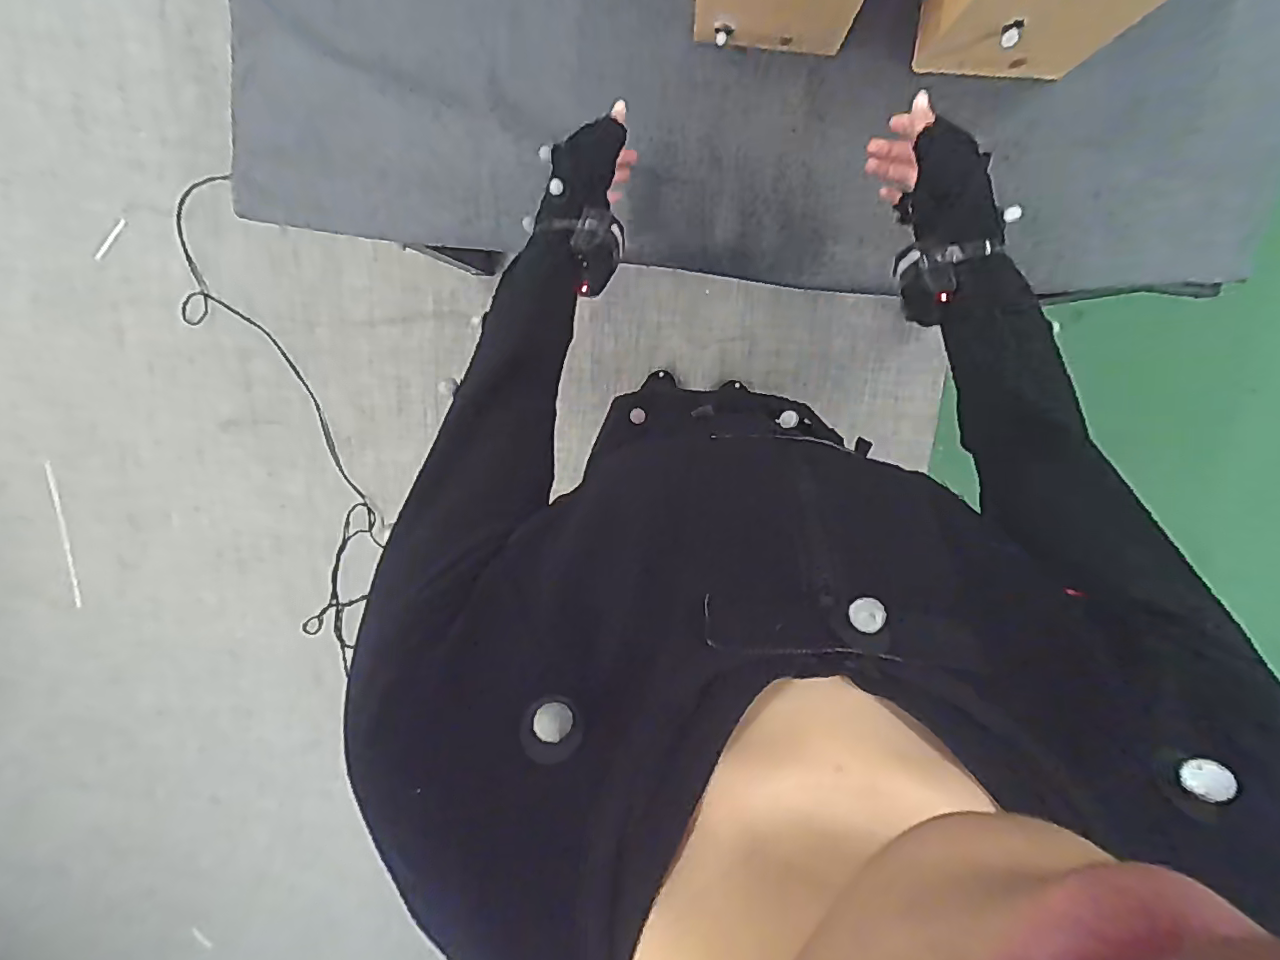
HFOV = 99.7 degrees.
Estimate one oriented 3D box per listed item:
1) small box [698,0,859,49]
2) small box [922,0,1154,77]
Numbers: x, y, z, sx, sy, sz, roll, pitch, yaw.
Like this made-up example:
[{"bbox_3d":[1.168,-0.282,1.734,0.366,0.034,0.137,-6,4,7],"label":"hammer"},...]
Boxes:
[{"bbox_3d":[0.149,-0.559,0.519,0.168,0.176,0.179,8,102,2],"label":"small box"},{"bbox_3d":[0.393,-0.519,0.512,0.168,0.176,0.179,5,103,3],"label":"small box"}]
